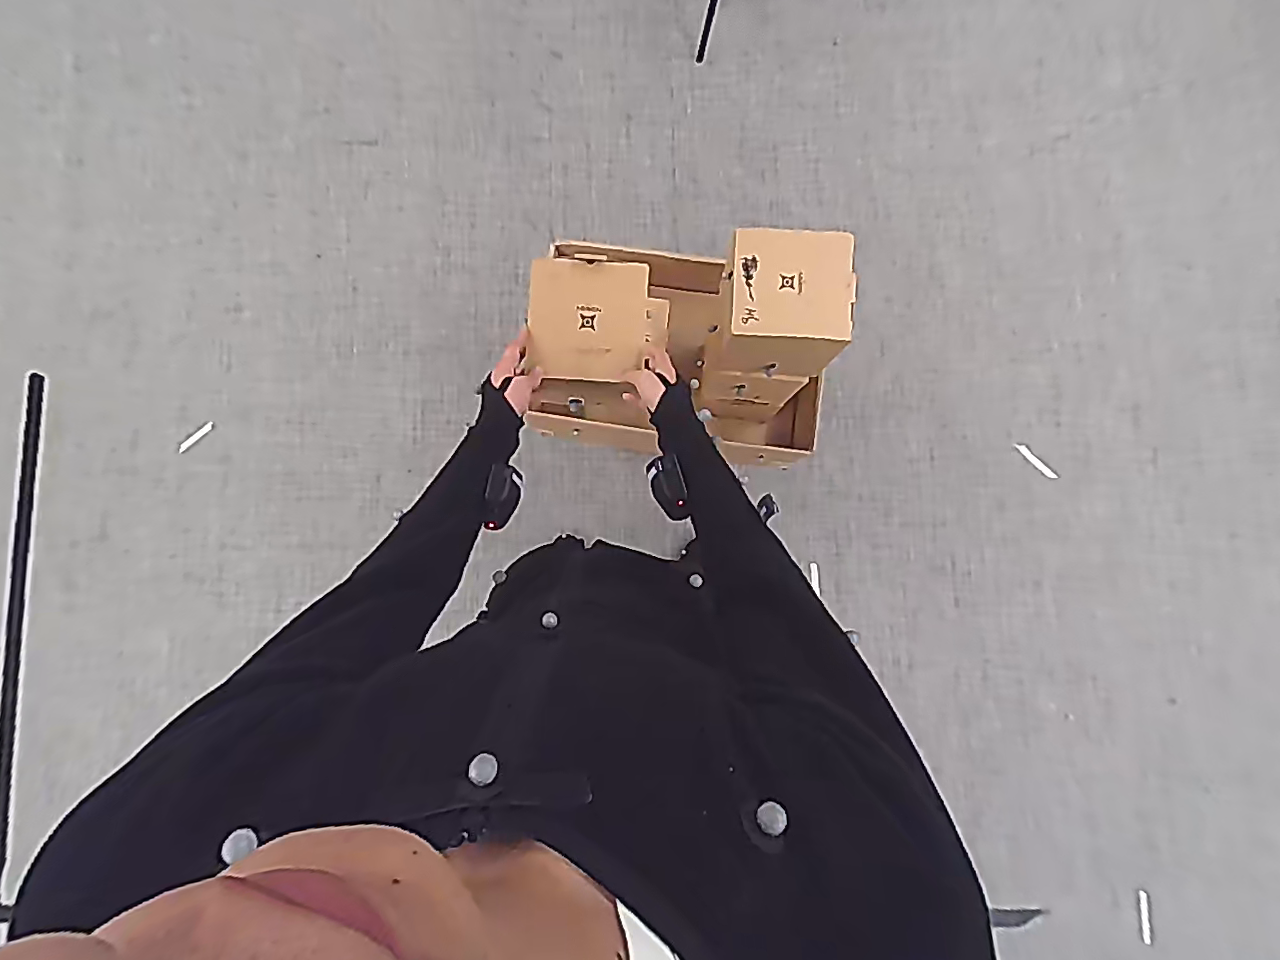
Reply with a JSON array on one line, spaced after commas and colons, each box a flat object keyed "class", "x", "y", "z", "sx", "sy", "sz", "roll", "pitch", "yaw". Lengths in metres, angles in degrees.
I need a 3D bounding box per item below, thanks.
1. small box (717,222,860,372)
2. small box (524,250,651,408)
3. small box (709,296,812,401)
[{"class": "small box", "x": 0.223, "y": -0.274, "z": 0.847, "sx": 0.179, "sy": 0.176, "sz": 0.168, "roll": 4, "pitch": 83, "yaw": 1}, {"class": "small box", "x": -0.077, "y": -0.216, "z": 0.810, "sx": 0.168, "sy": 0.176, "sz": 0.179, "roll": 2, "pitch": 85, "yaw": -4}, {"class": "small box", "x": 0.223, "y": -0.255, "z": 1.010, "sx": 0.168, "sy": 0.176, "sz": 0.179, "roll": 6, "pitch": 84, "yaw": 1}]
